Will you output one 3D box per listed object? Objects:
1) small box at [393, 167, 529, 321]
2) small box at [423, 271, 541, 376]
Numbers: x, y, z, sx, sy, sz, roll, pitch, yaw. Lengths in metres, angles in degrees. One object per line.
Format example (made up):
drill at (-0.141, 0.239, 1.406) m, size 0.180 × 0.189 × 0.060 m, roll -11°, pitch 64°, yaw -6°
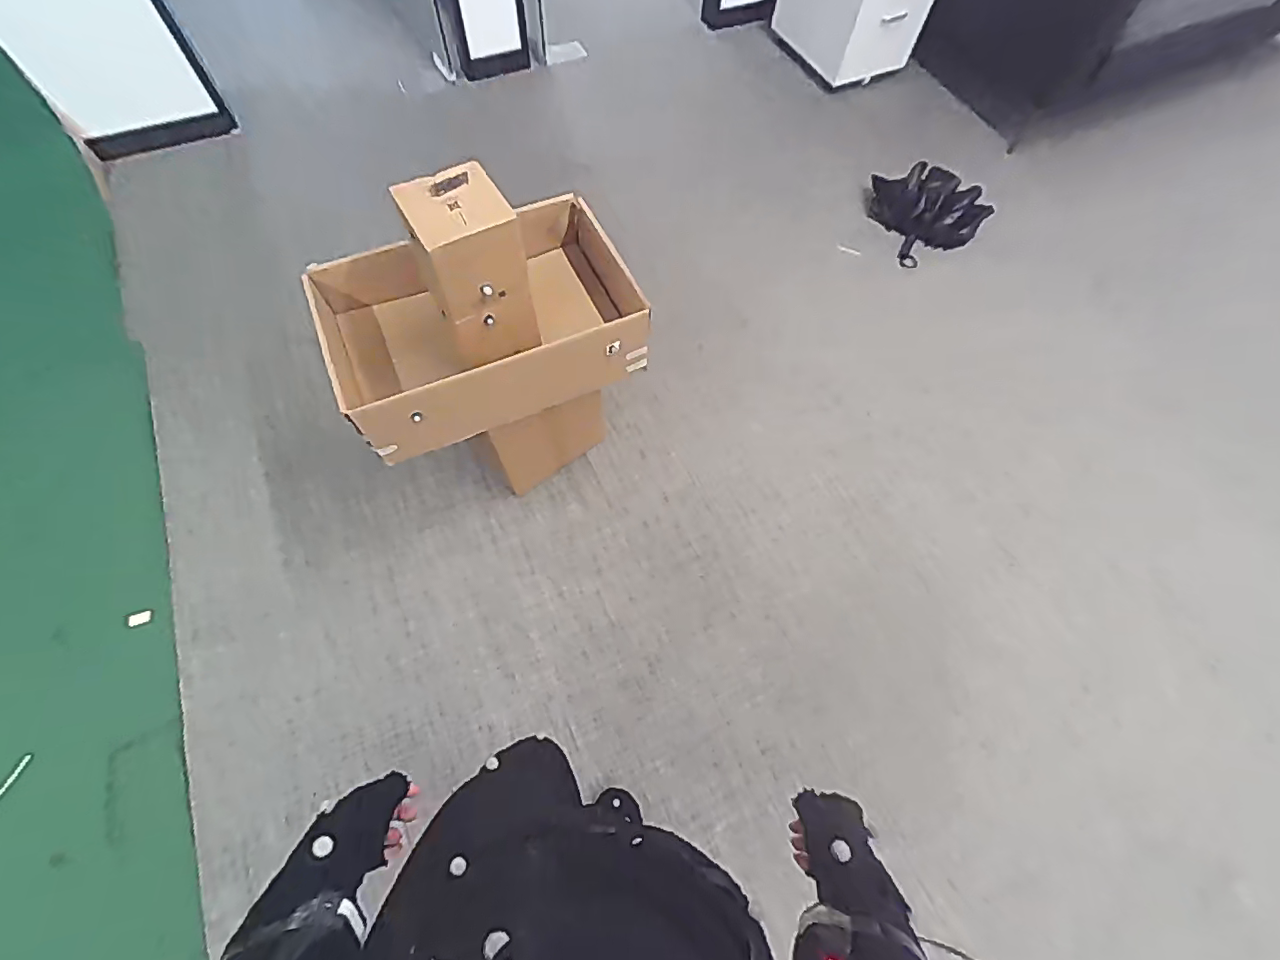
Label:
small box at (-0.324, -0.433, 1.004) m, size 0.168 × 0.176 × 0.179 m, roll -28°, pitch 69°, yaw -15°
small box at (-0.329, -0.358, 1.150) m, size 0.168 × 0.176 × 0.179 m, roll -29°, pitch 67°, yaw -14°
